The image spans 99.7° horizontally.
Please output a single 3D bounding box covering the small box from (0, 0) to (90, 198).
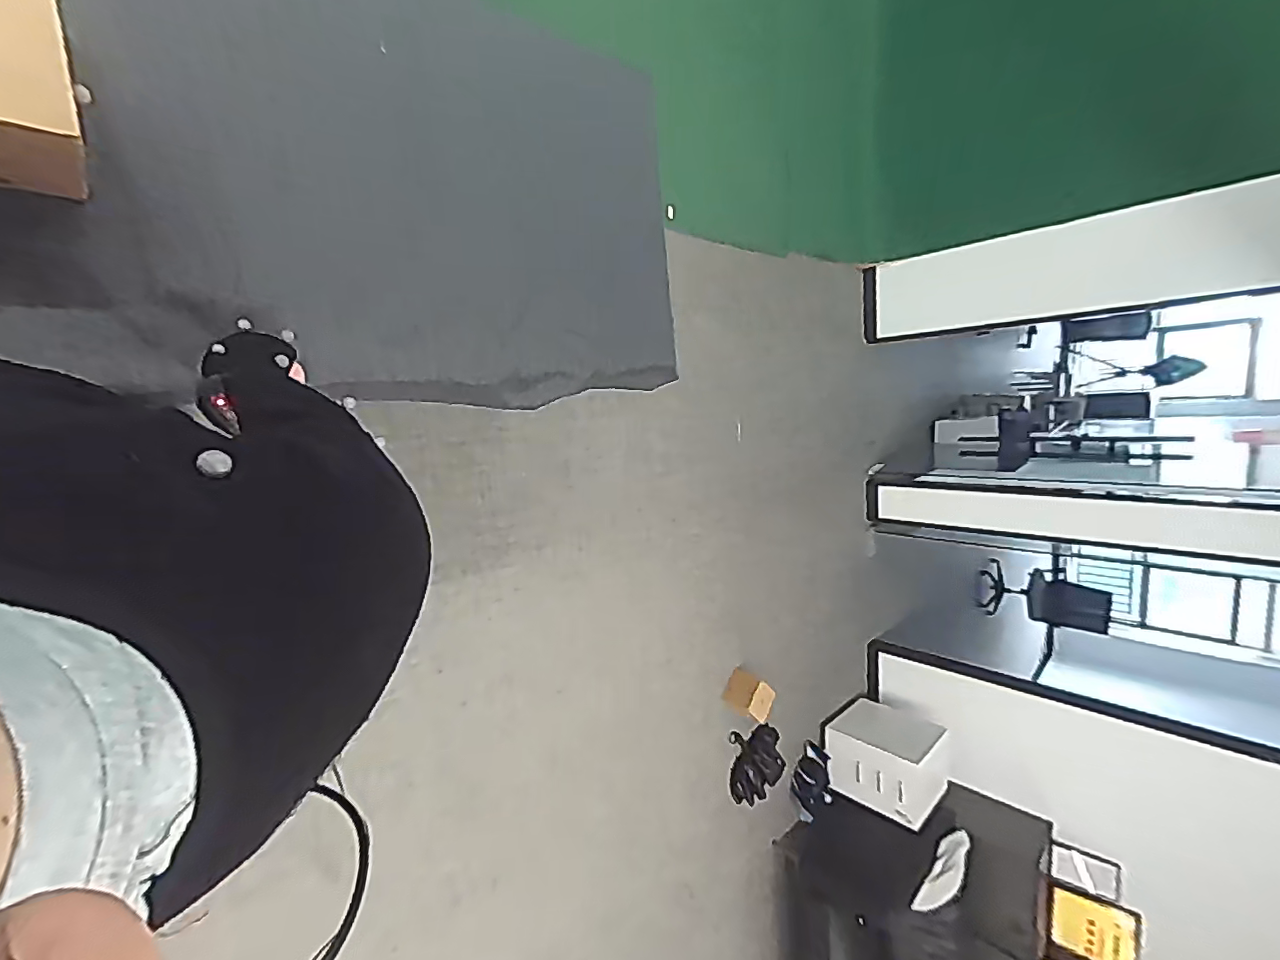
[{"bbox_3d":[-0.616,-0.375,0.476,0.168,0.176,0.179,-11,101,-44],"label":"small box"}]
